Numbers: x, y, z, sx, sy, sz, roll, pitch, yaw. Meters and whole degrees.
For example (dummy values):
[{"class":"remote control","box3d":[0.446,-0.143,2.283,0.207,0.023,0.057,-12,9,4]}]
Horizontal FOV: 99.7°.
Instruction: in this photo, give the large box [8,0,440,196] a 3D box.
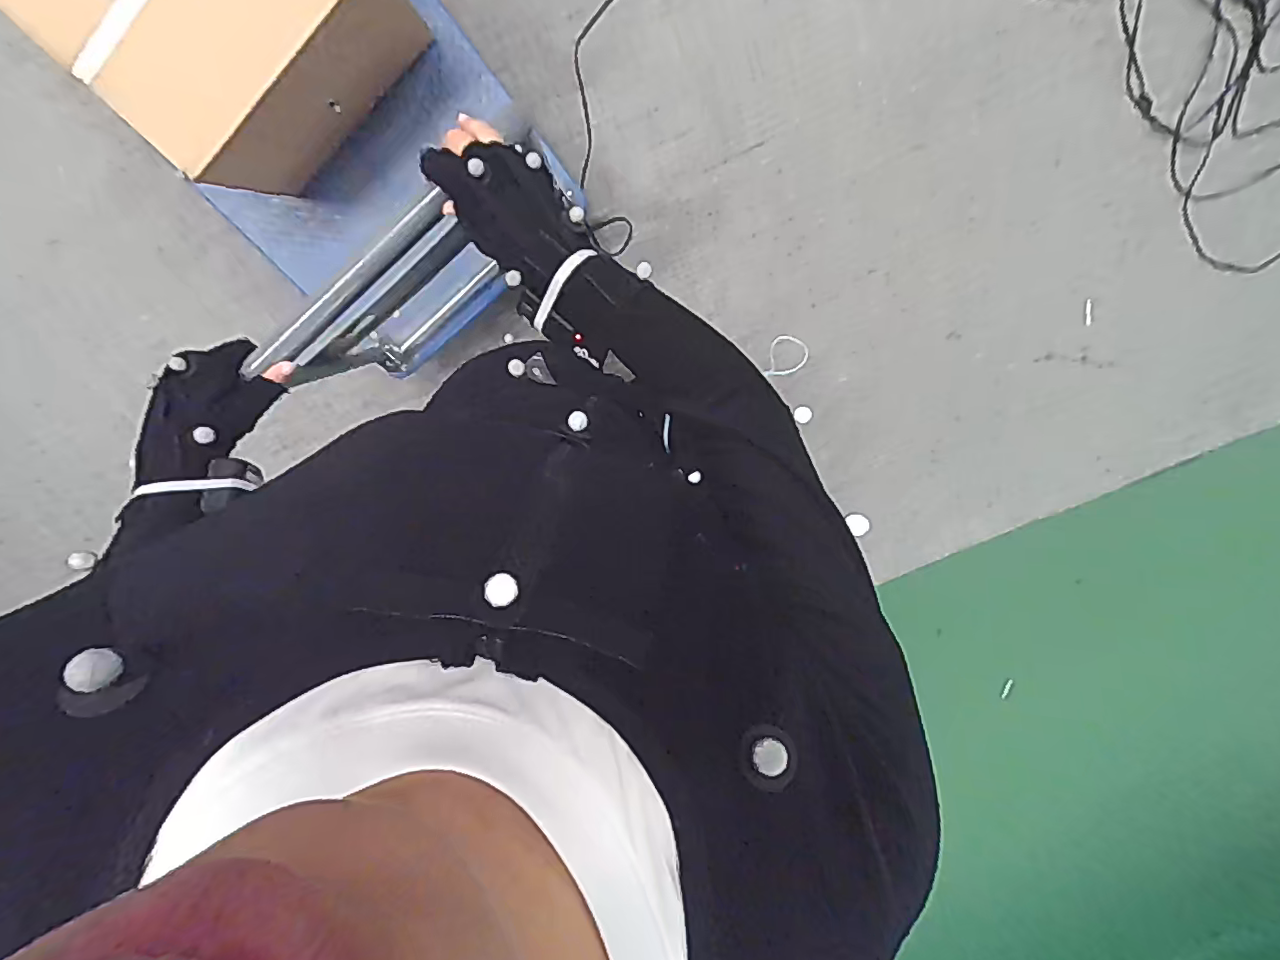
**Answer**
[{"class":"large box","box3d":[-0.586,-0.717,0.832,0.408,0.320,0.320,-41,111,12]}]
